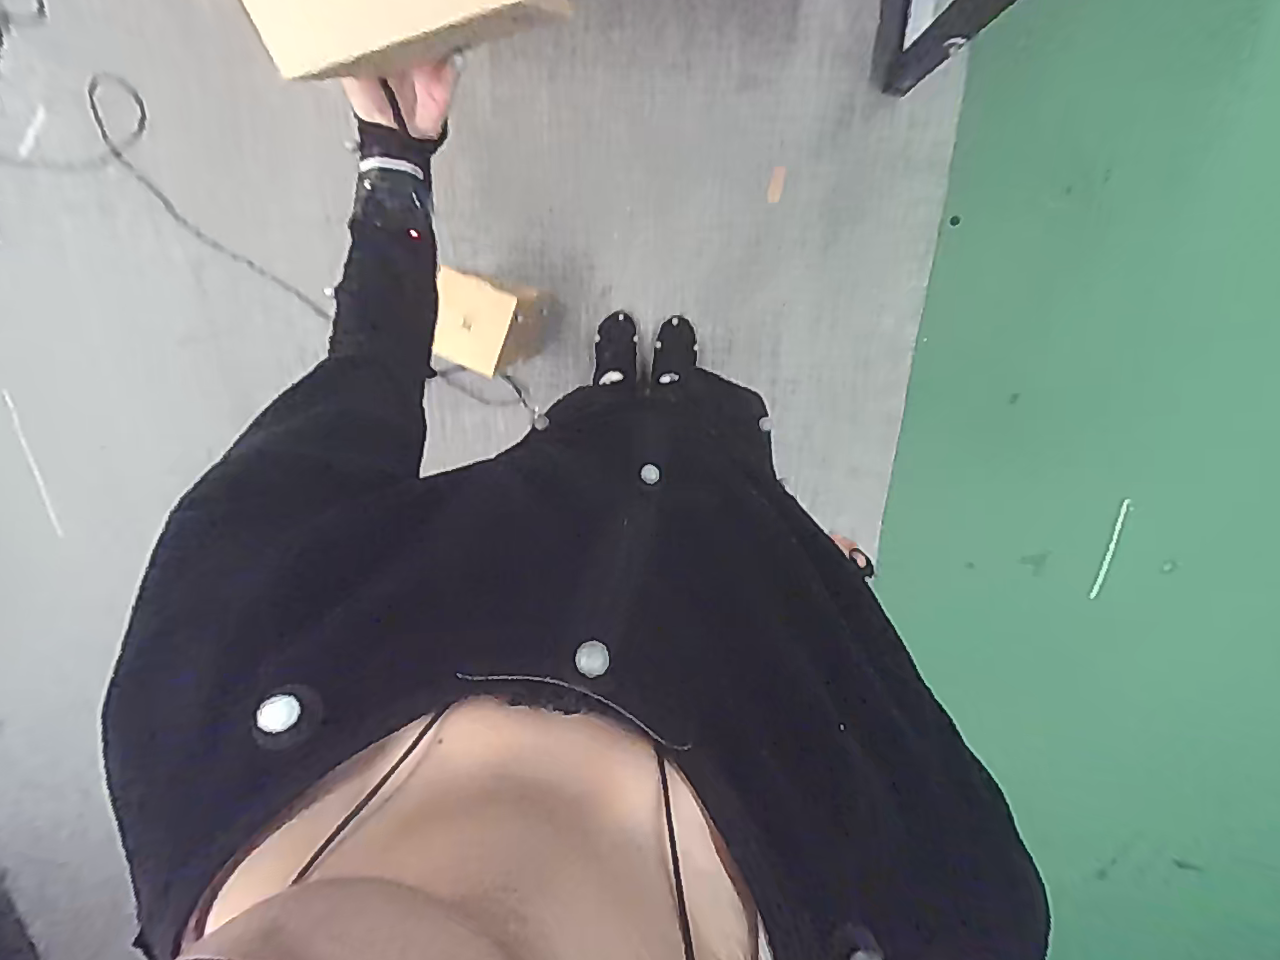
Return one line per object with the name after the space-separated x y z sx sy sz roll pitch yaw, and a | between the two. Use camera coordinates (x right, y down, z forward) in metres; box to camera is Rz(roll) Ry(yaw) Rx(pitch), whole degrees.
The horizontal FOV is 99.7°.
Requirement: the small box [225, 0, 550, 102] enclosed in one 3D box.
-0.164 -0.369 0.340 0.176 0.168 0.179 -8 127 11 | small box

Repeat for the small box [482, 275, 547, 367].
-0.337 -0.396 1.336 0.168 0.176 0.179 18 109 -3 | small box

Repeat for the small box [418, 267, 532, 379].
-0.352 -0.343 1.184 0.168 0.176 0.179 23 108 -5 | small box
